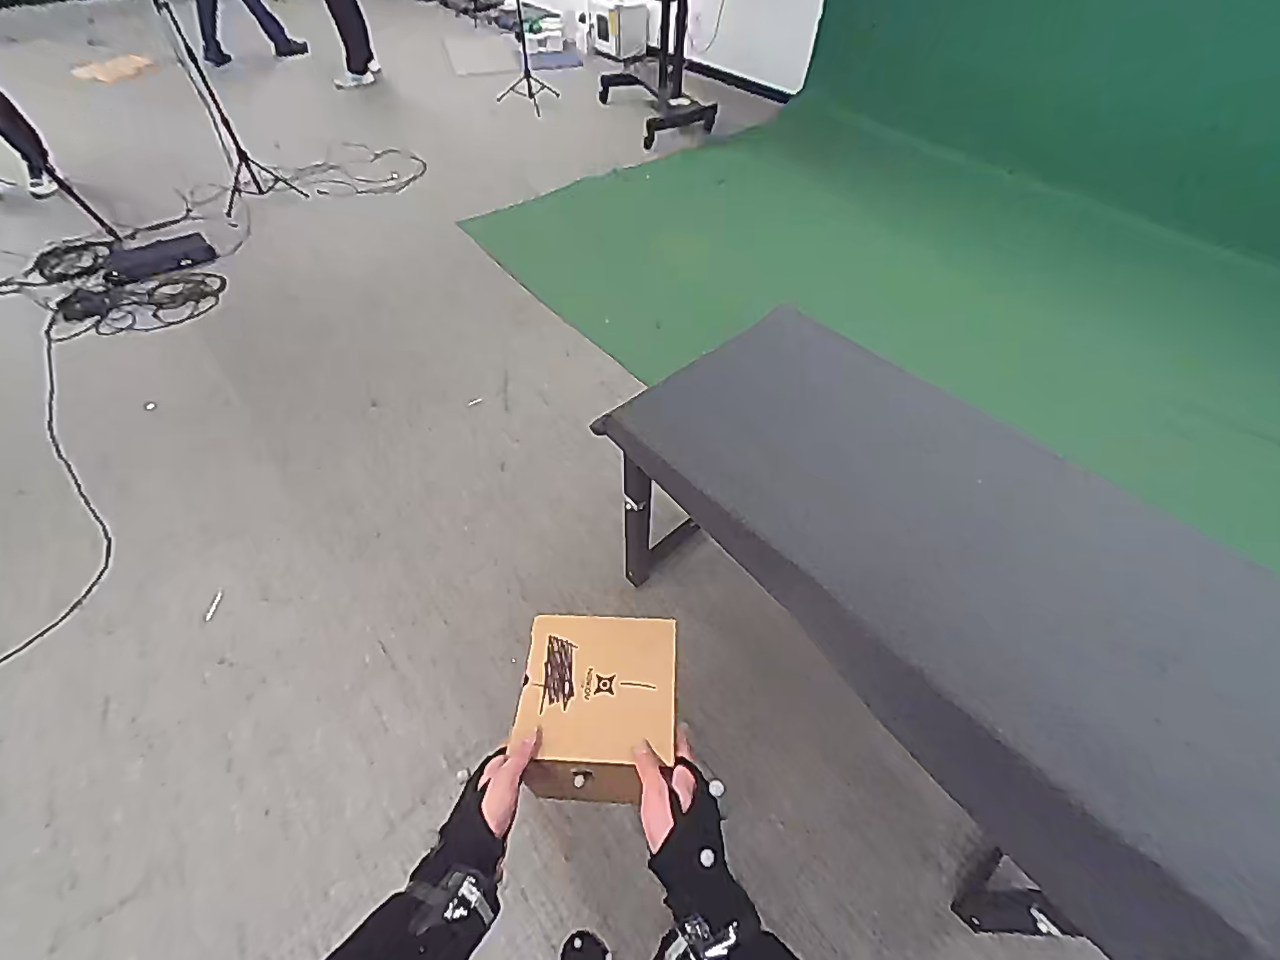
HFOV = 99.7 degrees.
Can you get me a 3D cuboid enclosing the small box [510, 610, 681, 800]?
[{"bbox_3d":[-0.041,0.275,0.657,0.179,0.176,0.168,2,48,3],"label":"small box"}]
